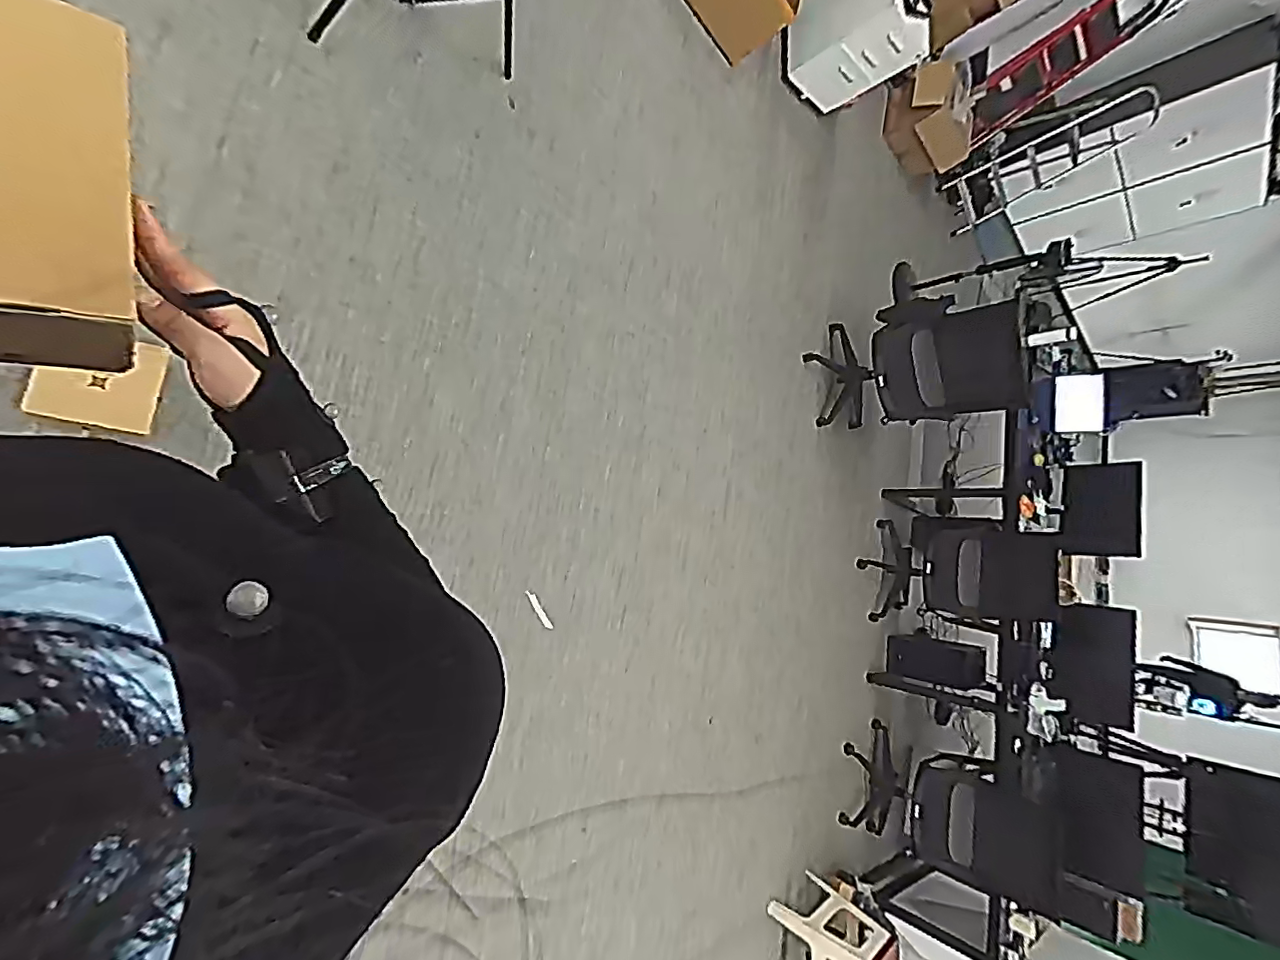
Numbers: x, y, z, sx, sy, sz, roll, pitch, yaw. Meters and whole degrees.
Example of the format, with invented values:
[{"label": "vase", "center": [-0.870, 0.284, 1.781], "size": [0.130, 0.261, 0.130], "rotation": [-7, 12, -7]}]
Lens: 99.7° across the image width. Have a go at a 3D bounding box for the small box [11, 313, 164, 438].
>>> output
[{"label": "small box", "center": [-1.033, -0.184, 1.025], "size": [0.168, 0.176, 0.179], "rotation": [16, 77, -42]}]
